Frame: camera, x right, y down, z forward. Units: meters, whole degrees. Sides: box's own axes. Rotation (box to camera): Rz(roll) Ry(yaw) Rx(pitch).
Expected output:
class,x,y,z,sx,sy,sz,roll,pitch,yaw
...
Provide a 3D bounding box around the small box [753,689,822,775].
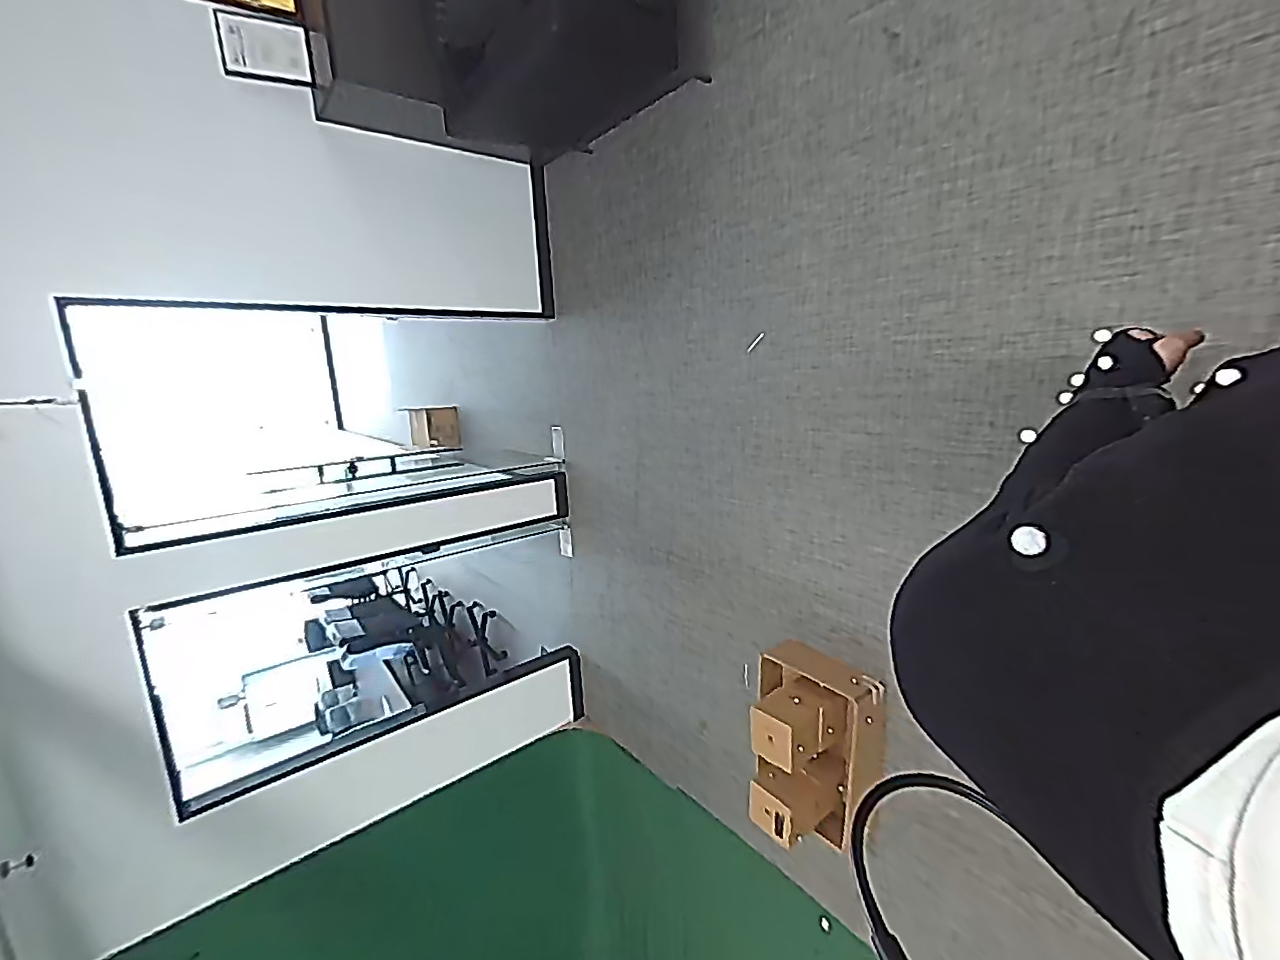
class,x,y,z,sx,sy,sz,roll,pitch,yaw
small box,0.503,0.849,1.842,0.168,0.176,0.179,11,107,49
